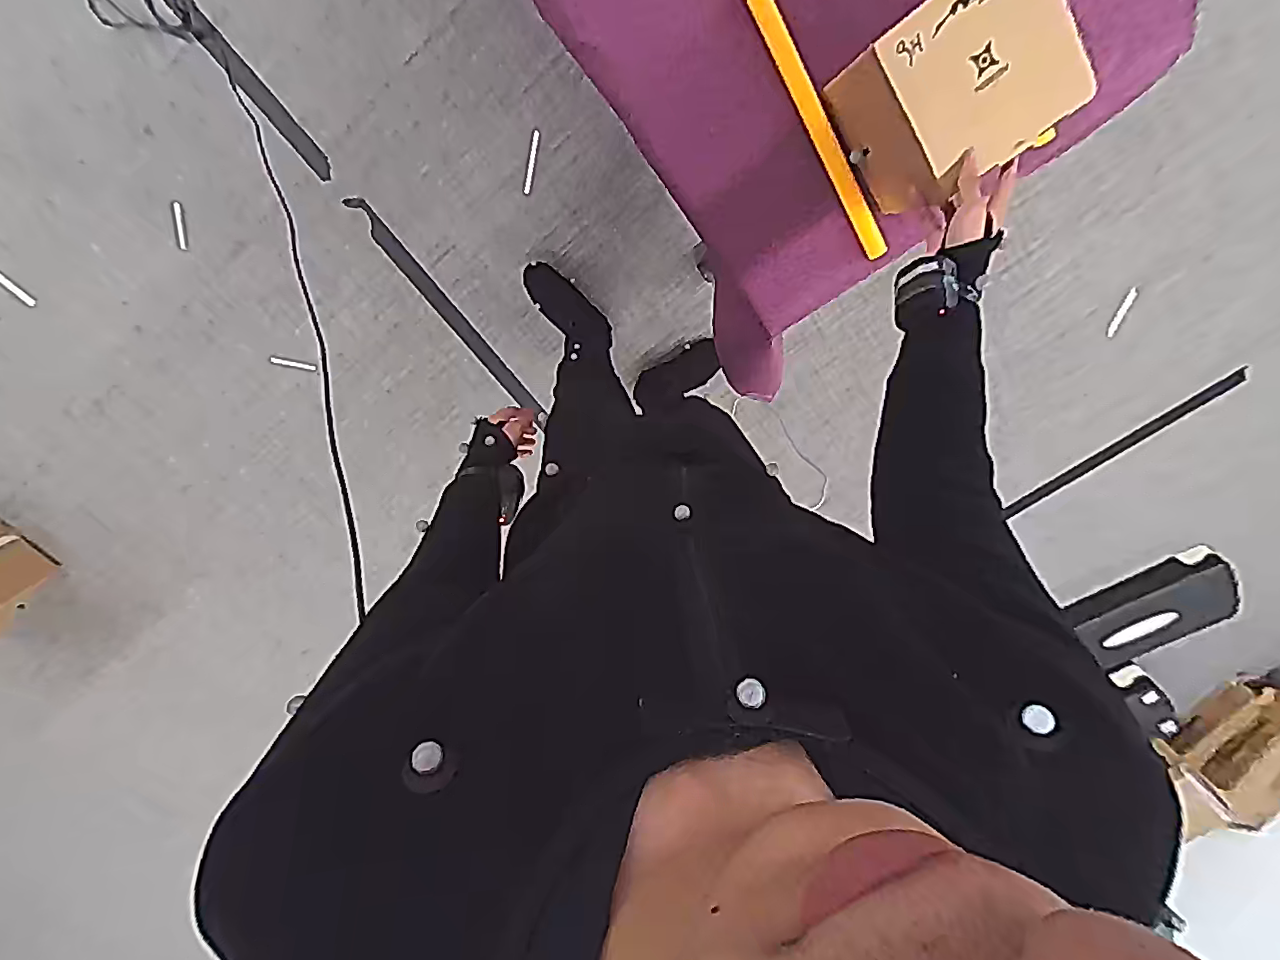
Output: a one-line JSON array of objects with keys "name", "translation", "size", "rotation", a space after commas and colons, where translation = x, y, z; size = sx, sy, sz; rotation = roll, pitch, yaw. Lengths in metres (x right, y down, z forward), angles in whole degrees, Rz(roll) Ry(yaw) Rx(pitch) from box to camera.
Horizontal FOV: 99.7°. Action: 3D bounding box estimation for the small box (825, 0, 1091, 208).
[{"name": "small box", "translation": [0.340, -0.434, 0.609], "size": [0.168, 0.176, 0.179], "rotation": [-34, 109, 13]}]
